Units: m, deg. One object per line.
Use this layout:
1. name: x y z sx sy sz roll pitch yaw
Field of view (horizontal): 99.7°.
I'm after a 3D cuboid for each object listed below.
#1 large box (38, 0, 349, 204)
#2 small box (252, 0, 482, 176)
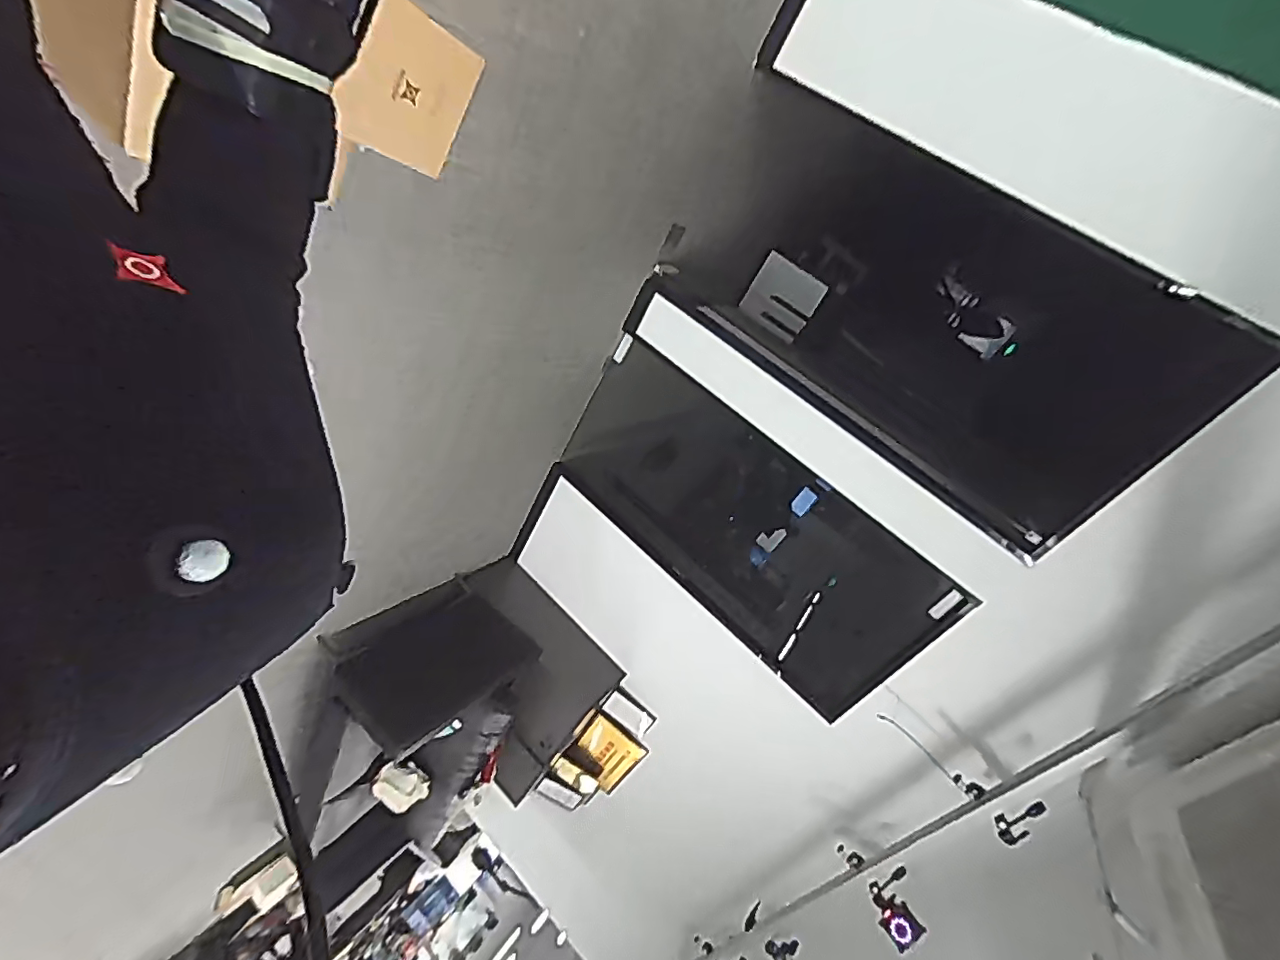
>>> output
1. large box: -0.669 -0.738 0.849 0.408 0.320 0.320 -55 162 26
2. small box: -0.346 -0.534 0.686 0.168 0.176 0.179 -53 165 24
